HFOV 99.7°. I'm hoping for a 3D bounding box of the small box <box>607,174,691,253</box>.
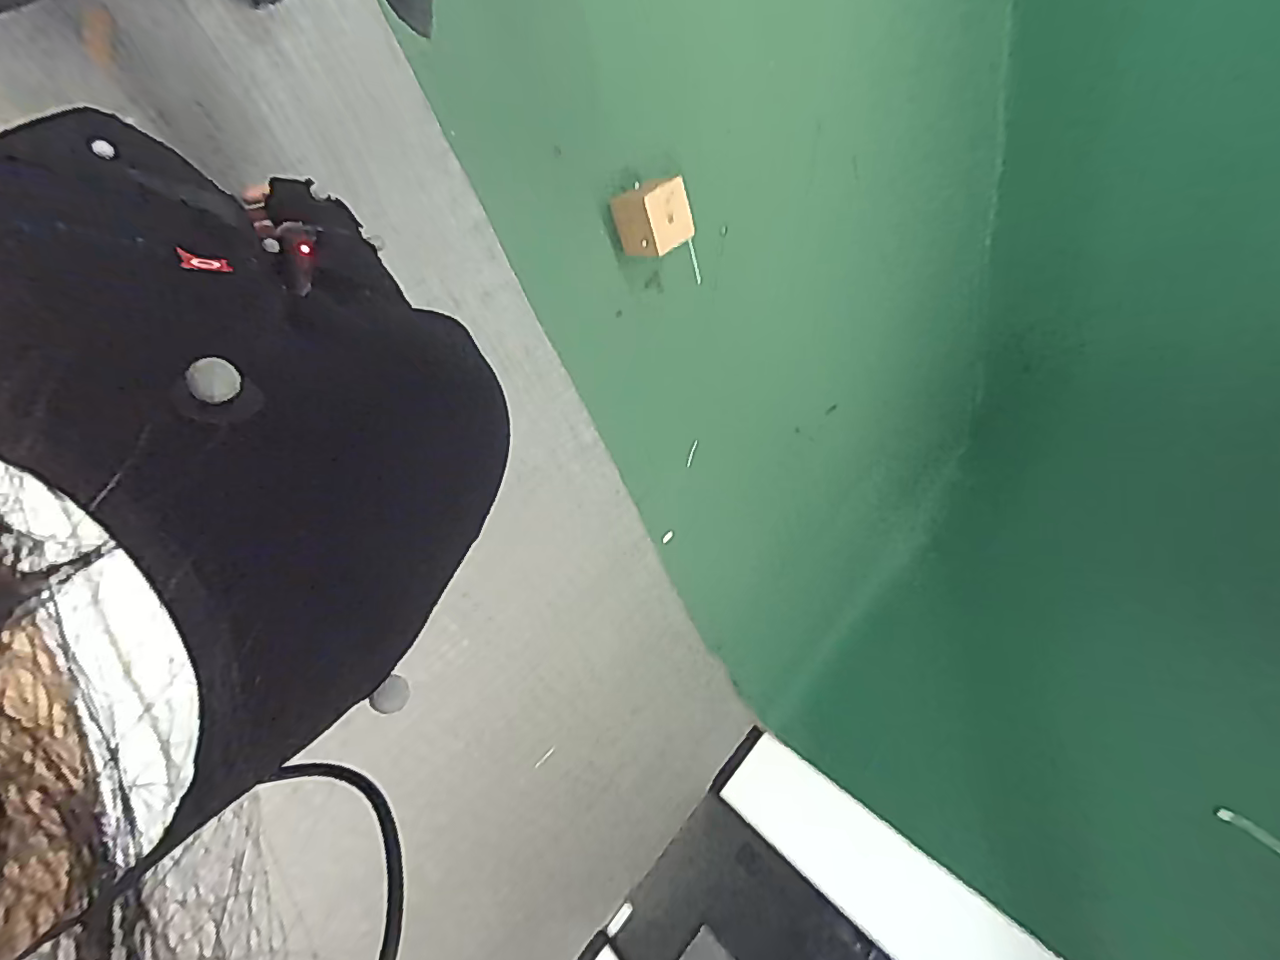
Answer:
[{"bbox_3d":[0.027,-0.824,1.676,0.168,0.176,0.179,-41,130,-23],"label":"small box"}]
